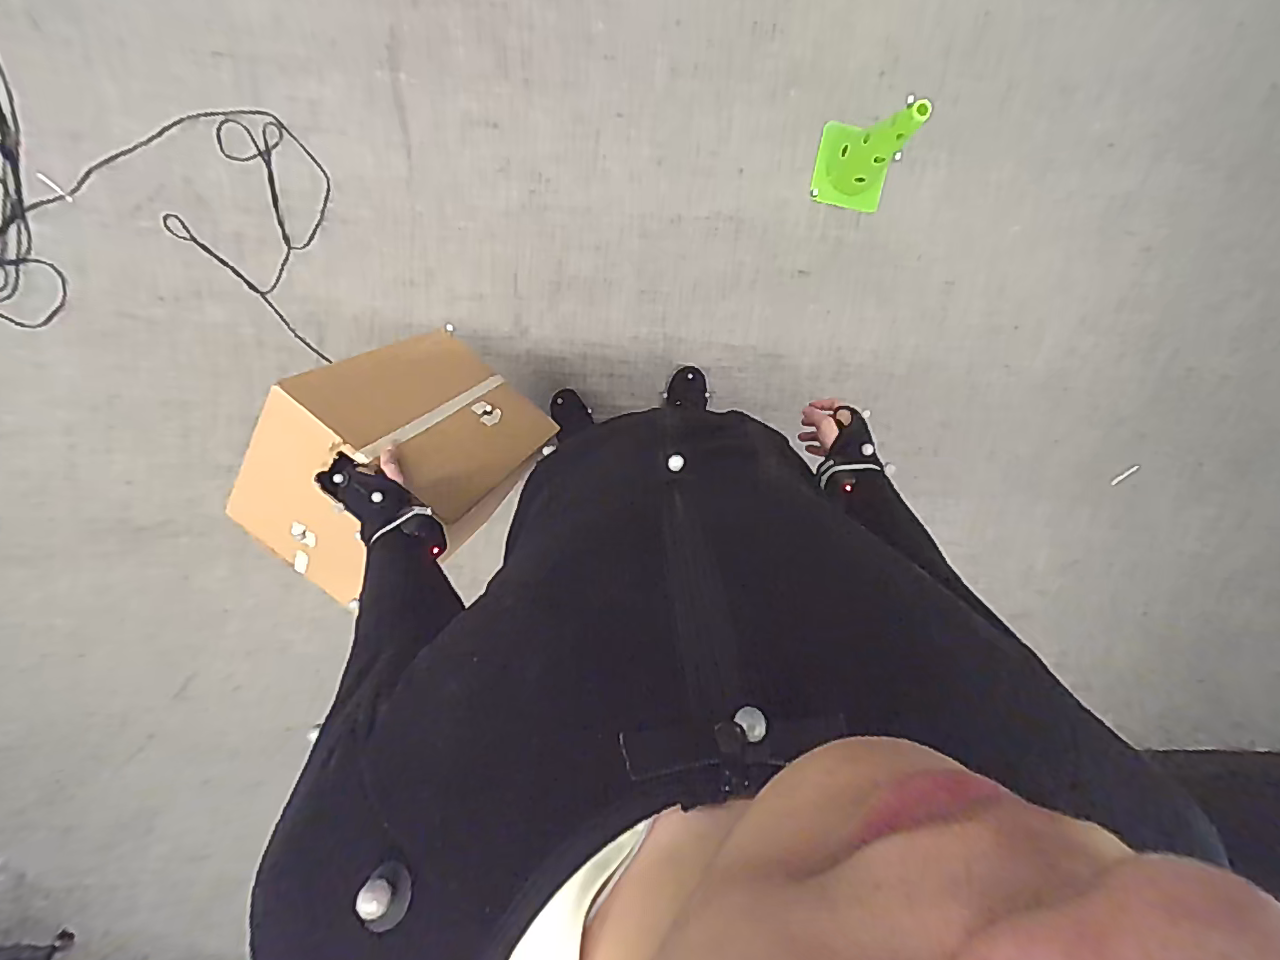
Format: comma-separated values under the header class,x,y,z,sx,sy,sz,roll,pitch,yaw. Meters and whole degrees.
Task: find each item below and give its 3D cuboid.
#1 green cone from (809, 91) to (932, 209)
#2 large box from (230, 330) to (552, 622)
class,x,y,z,sx,sy,sz,roll,pitch,yaw
green cone,0.584,-0.824,1.308,0.200,0.368,0.202,8,101,-6
large box,-0.433,-0.025,1.005,0.320,0.408,0.320,41,119,-6
